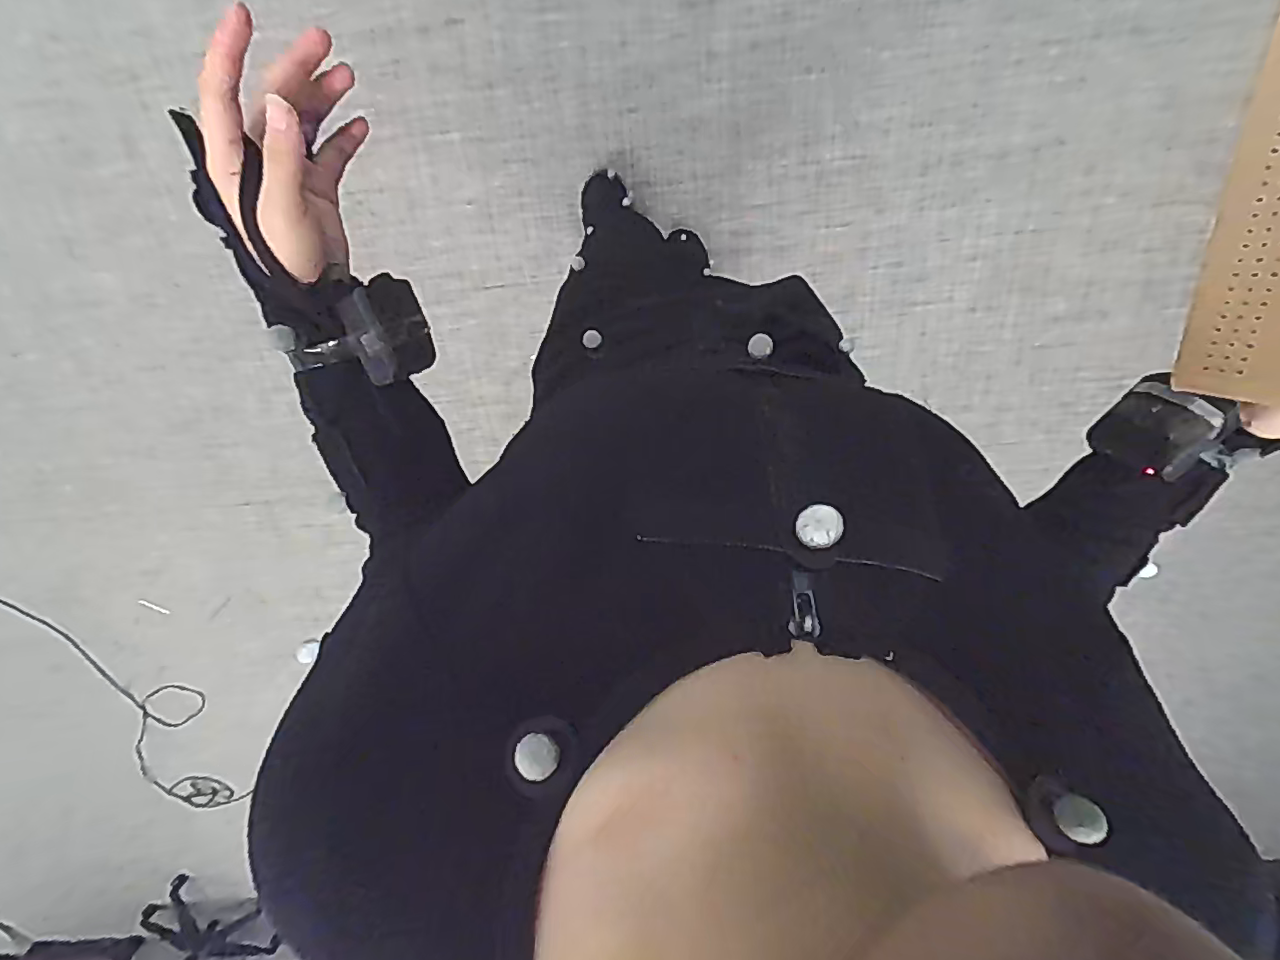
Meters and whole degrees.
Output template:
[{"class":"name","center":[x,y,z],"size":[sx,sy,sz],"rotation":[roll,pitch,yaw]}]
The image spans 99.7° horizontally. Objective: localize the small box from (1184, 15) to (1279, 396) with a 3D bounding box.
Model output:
[{"class":"small box","center":[0.380,-0.122,0.215],"size":[0.168,0.176,0.179],"rotation":[-15,113,-15]}]
